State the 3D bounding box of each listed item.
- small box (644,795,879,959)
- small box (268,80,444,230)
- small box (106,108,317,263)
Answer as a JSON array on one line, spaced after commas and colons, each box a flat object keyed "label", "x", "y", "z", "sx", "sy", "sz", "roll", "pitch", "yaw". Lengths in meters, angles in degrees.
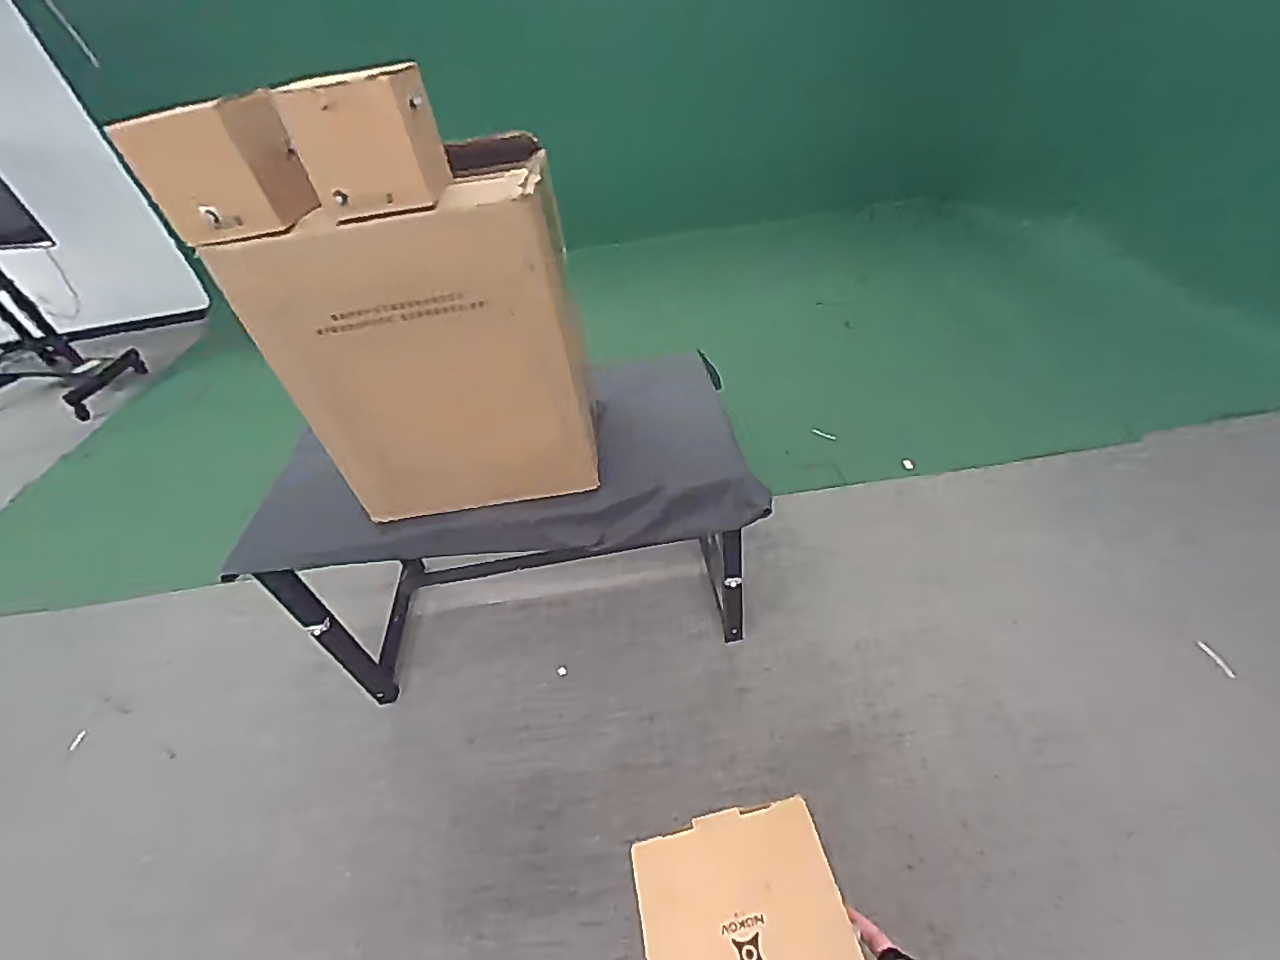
[{"label": "small box", "x": 0.112, "y": 0.421, "z": 0.477, "sx": 0.168, "sy": 0.176, "sz": 0.179, "roll": -17, "pitch": 40, "yaw": 0}, {"label": "small box", "x": -0.426, "y": -0.507, "z": 0.851, "sx": 0.168, "sy": 0.176, "sz": 0.179, "roll": -9, "pitch": 40, "yaw": 0}, {"label": "small box", "x": -0.654, "y": -0.466, "z": 0.859, "sx": 0.168, "sy": 0.176, "sz": 0.179, "roll": -10, "pitch": 42, "yaw": 4}]
